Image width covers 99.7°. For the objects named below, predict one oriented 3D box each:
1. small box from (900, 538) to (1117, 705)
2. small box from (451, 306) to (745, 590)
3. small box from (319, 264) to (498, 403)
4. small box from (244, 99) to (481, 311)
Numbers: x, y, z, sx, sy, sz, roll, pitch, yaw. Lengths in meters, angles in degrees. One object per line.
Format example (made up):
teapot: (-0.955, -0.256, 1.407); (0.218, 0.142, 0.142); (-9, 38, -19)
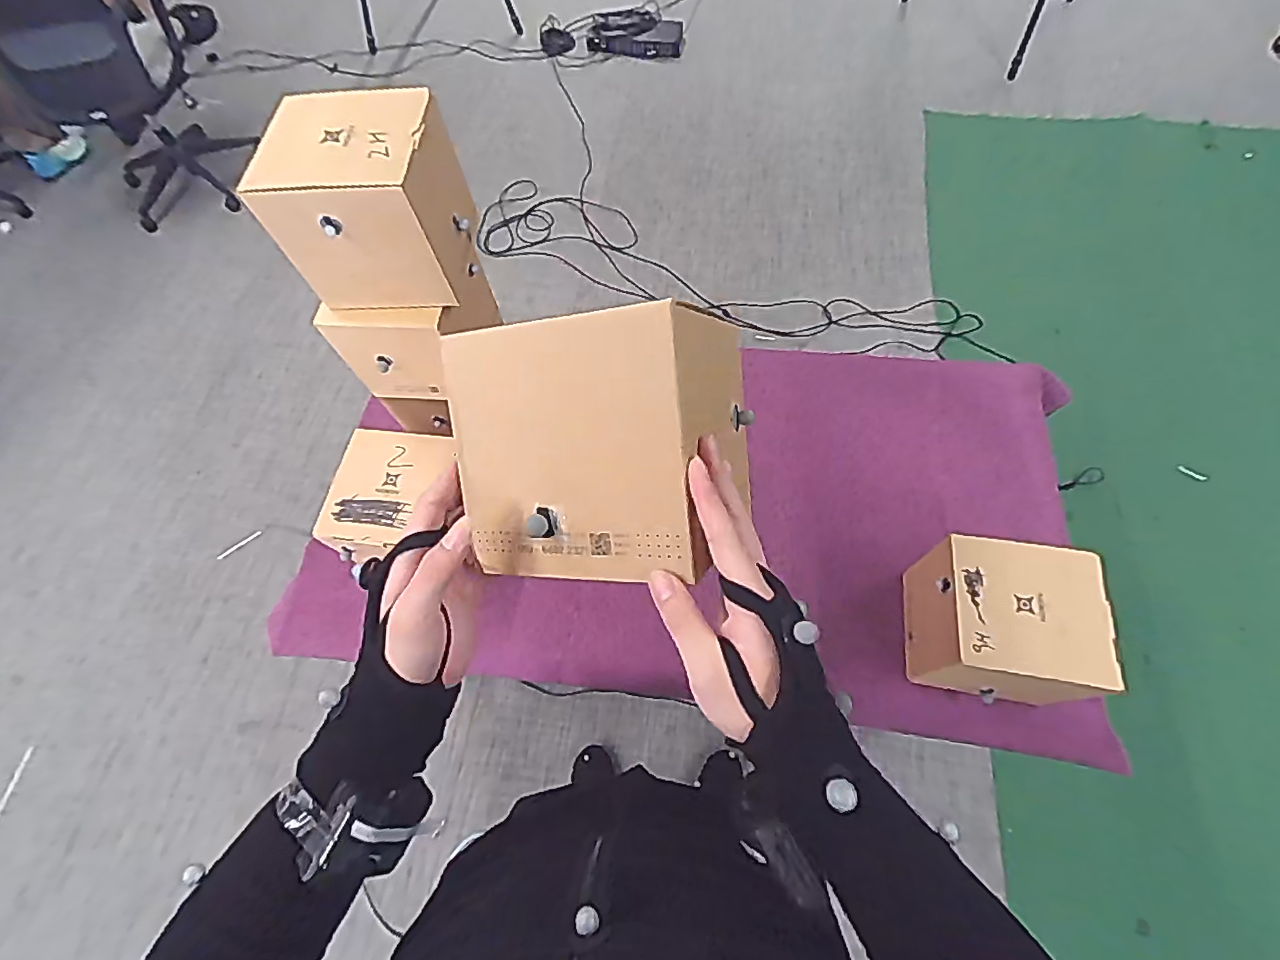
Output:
small box: (0.469, 0.195, 0.721); (0.179, 0.176, 0.168); (9, 63, 7)
small box: (-0.017, -0.027, 0.418); (0.168, 0.179, 0.176); (-2, 99, 24)
small box: (-0.320, -0.228, 0.791); (0.168, 0.176, 0.179); (3, 64, 4)
small box: (-0.313, -0.323, 0.654); (0.179, 0.176, 0.168); (0, 64, 3)
